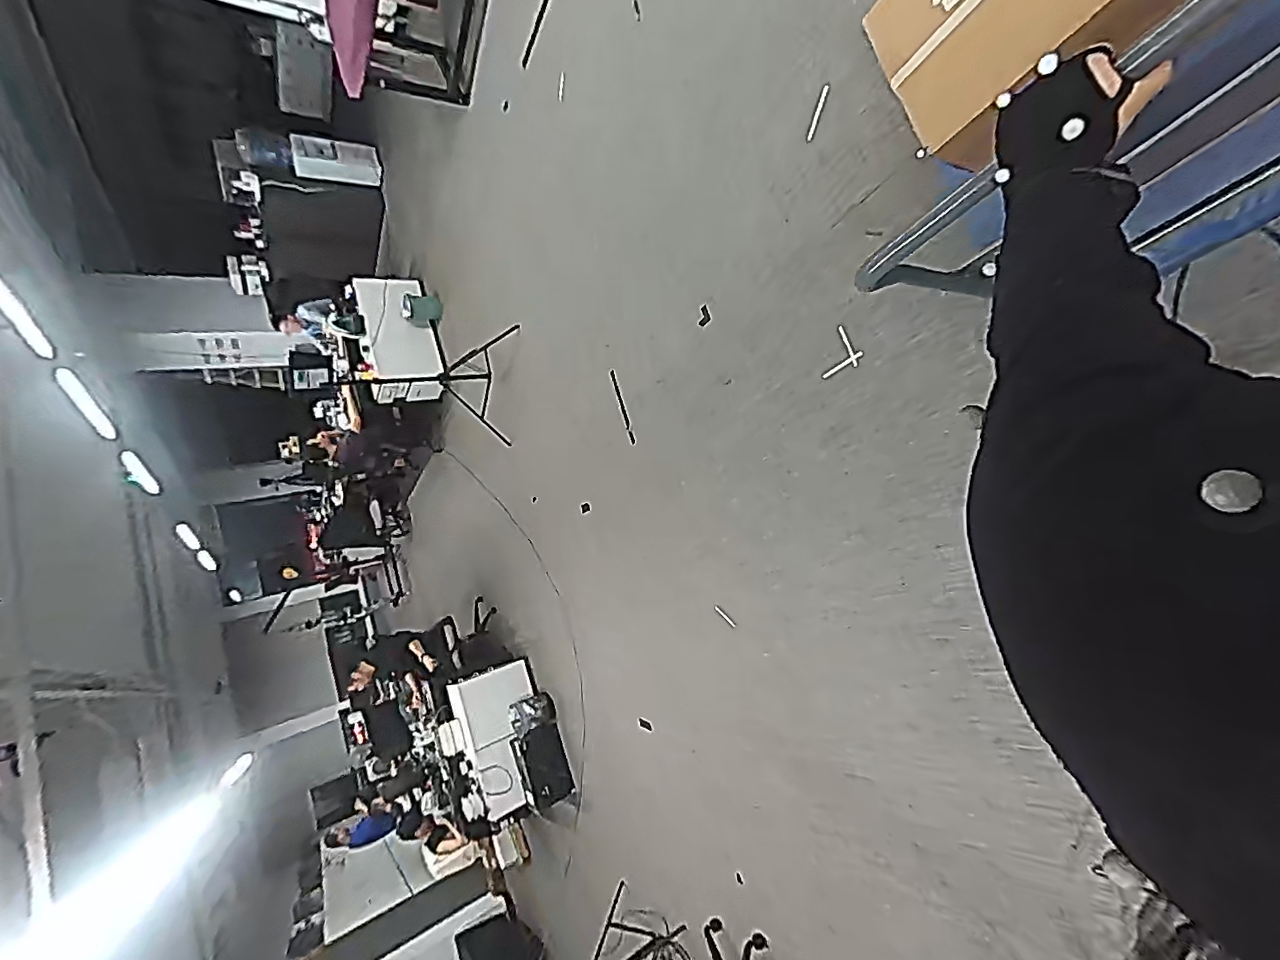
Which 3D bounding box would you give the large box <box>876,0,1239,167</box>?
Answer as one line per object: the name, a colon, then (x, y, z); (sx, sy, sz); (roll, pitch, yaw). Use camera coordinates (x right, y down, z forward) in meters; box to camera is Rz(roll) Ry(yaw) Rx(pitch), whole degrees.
large box: (0.703, -0.819, 0.903); (0.408, 0.320, 0.320); (-34, 70, 55)
